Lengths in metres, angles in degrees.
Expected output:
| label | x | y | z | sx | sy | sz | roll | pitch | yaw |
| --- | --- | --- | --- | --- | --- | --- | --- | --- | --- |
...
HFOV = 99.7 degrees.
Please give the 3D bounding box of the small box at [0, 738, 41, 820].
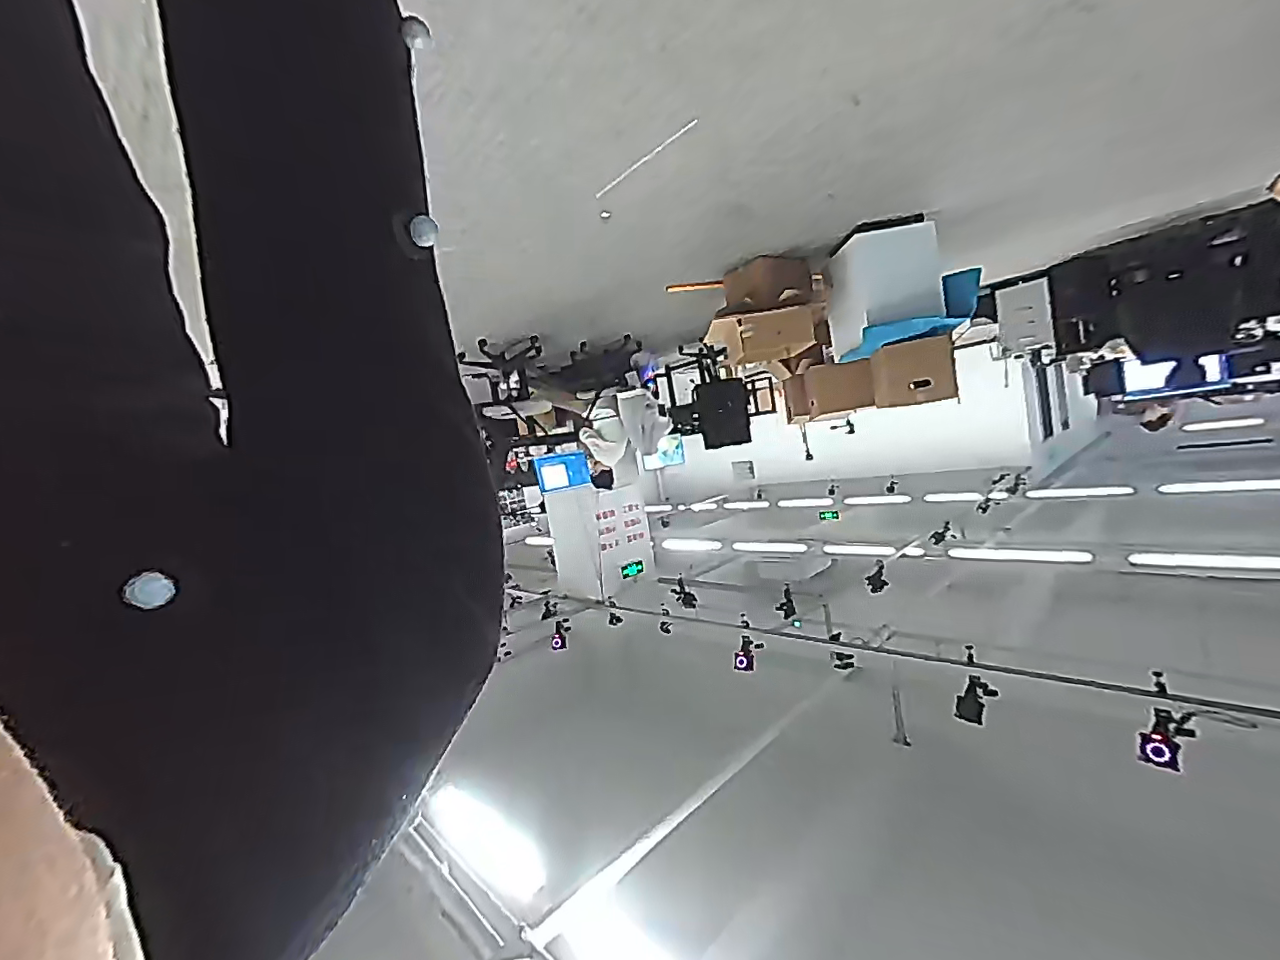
| label | x | y | z | sx | sy | sz | roll | pitch | yaw |
| --- | --- | --- | --- | --- | --- | --- | --- | --- | --- |
| small box | -1.856 | 0.870 | 1.537 | 0.168 | 0.176 | 0.179 | -4 | -172 | 44 |
